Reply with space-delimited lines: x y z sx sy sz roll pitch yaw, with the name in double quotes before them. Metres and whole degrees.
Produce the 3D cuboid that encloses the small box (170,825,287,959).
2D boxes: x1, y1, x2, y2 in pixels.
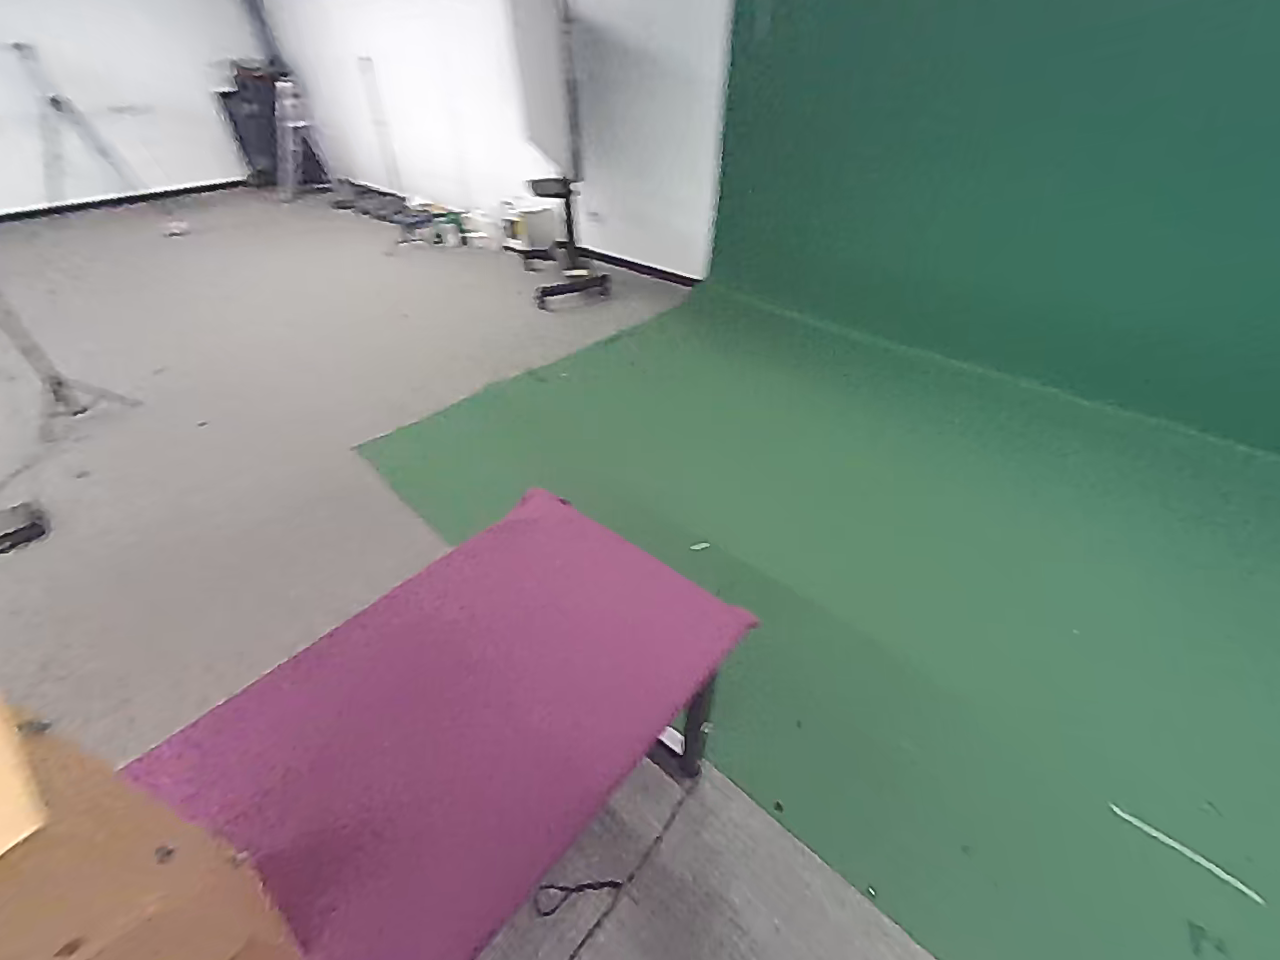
"small box" -0.559 0.562 0.630 0.179 0.176 0.168 29 47 29
